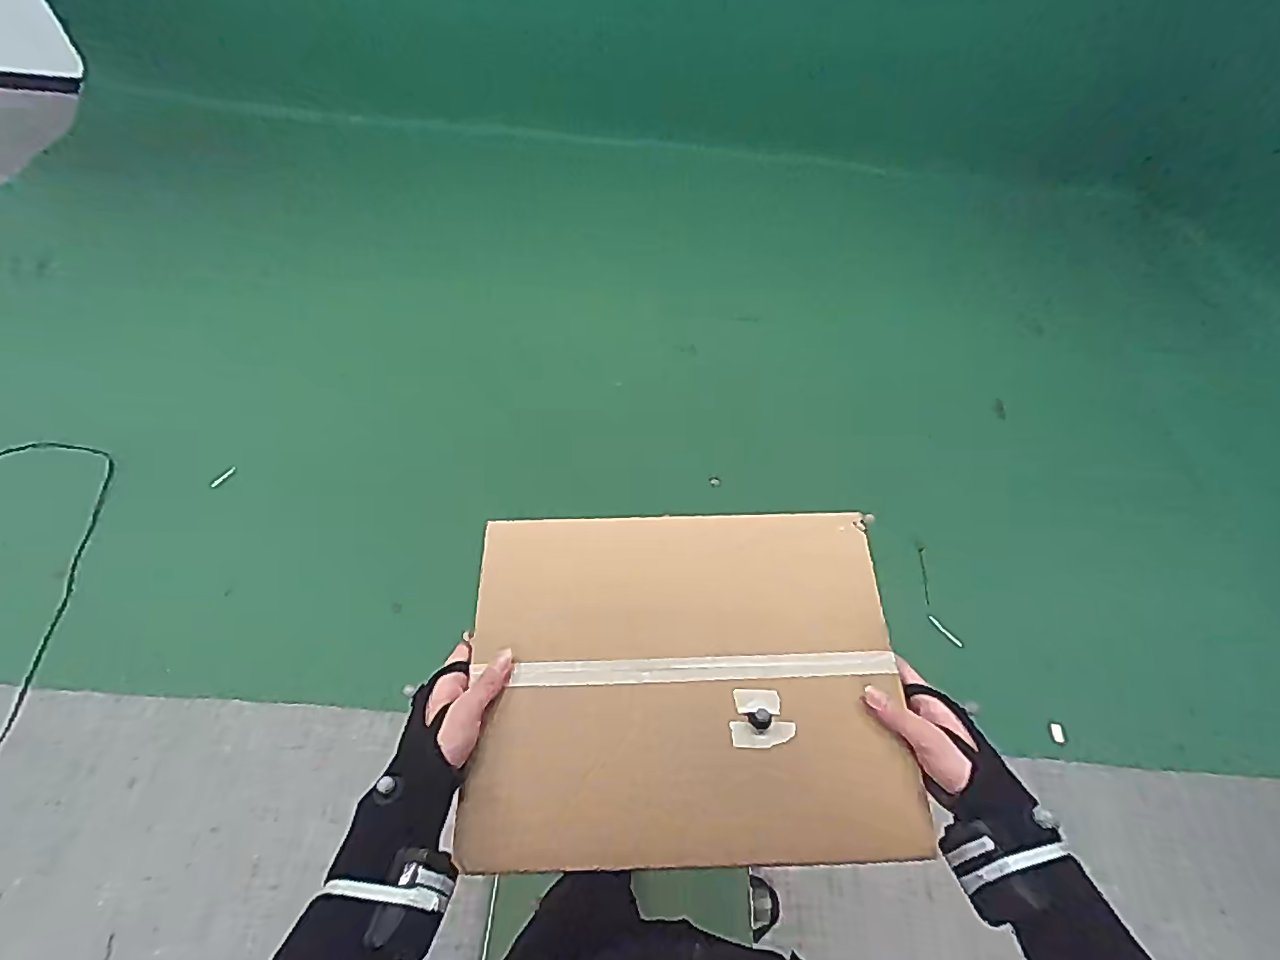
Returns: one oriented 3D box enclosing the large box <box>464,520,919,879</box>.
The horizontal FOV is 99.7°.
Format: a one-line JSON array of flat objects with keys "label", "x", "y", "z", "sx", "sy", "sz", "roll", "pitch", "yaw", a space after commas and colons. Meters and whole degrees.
[{"label": "large box", "x": 0.036, "y": 0.257, "z": 0.661, "sx": 0.408, "sy": 0.320, "sz": 0.320, "roll": -2, "pitch": 64, "yaw": -1}]
